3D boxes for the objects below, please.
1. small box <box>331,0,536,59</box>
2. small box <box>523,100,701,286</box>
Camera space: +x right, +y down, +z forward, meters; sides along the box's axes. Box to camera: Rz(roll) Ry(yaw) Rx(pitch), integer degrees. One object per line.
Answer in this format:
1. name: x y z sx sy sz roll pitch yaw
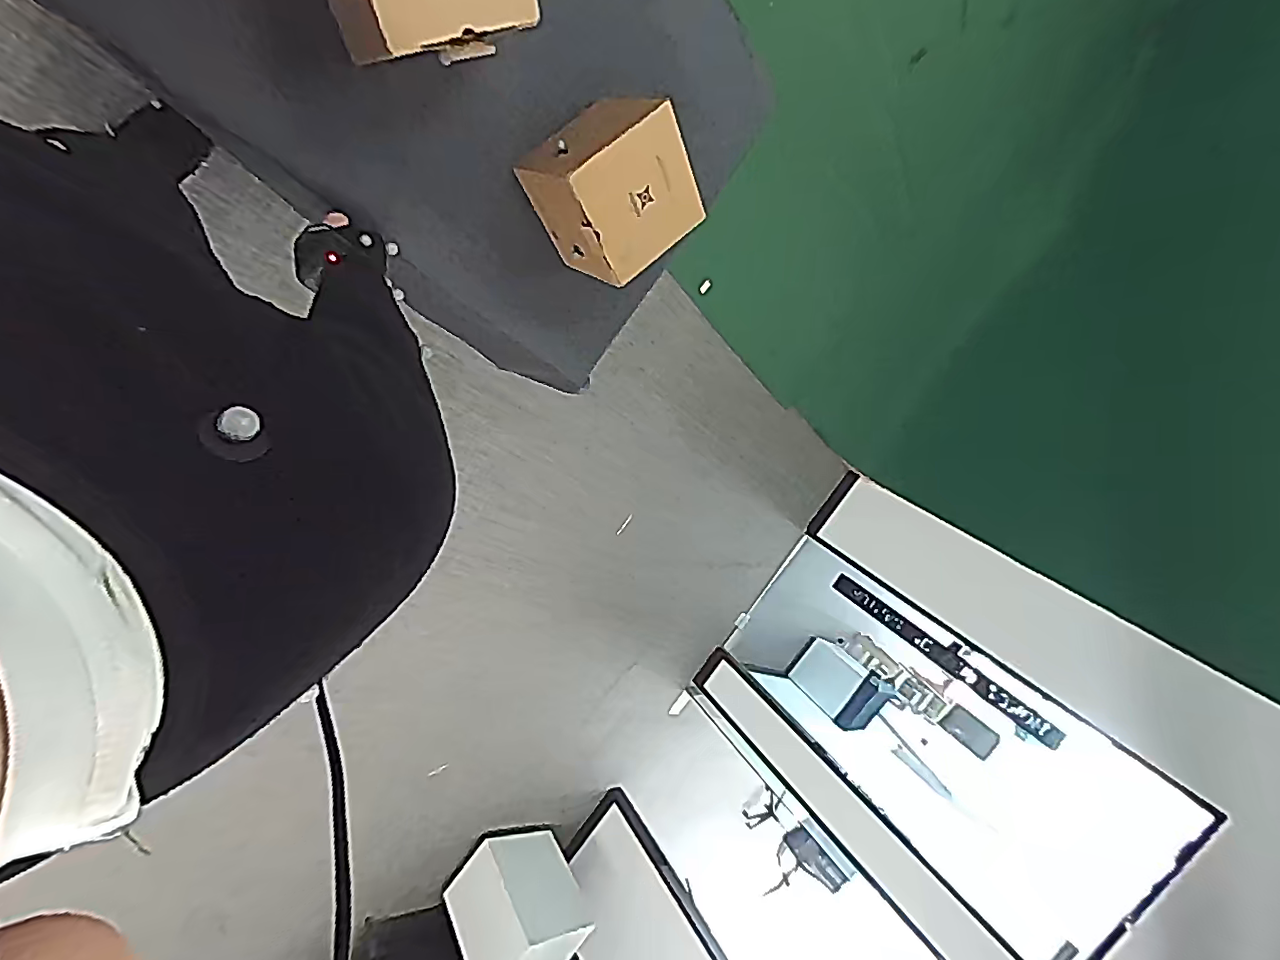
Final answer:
1. small box: -0.231 -0.545 0.543 0.168 0.176 0.179 -30 134 -20
2. small box: -0.046 -0.417 0.785 0.179 0.176 0.168 -43 138 -9
